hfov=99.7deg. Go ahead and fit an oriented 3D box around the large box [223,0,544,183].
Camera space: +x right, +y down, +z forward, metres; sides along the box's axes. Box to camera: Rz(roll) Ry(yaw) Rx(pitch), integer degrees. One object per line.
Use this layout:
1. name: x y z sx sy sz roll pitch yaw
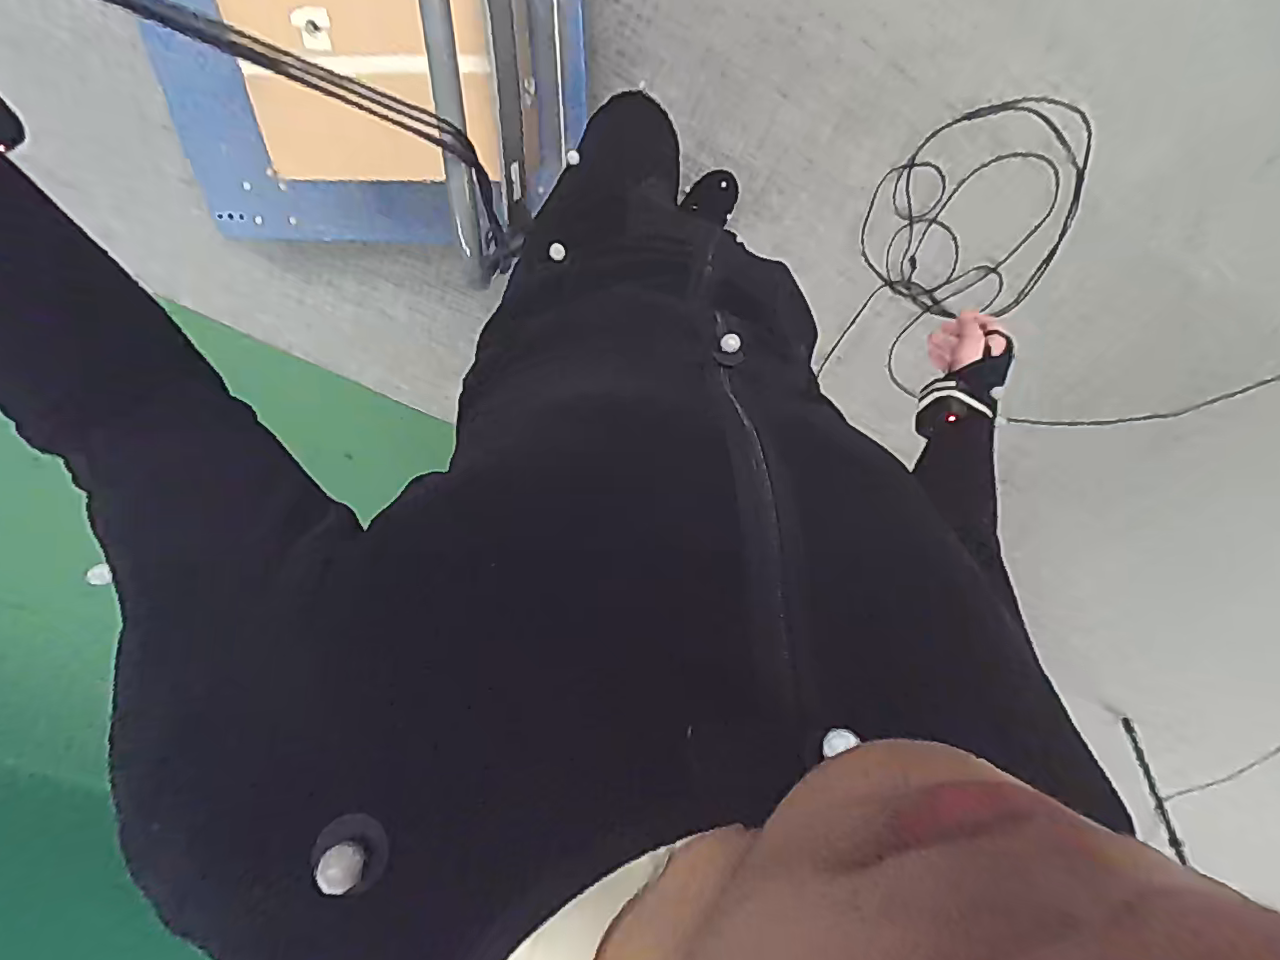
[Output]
1. large box: -0.411 -0.723 0.963 0.408 0.320 0.320 1 123 2
